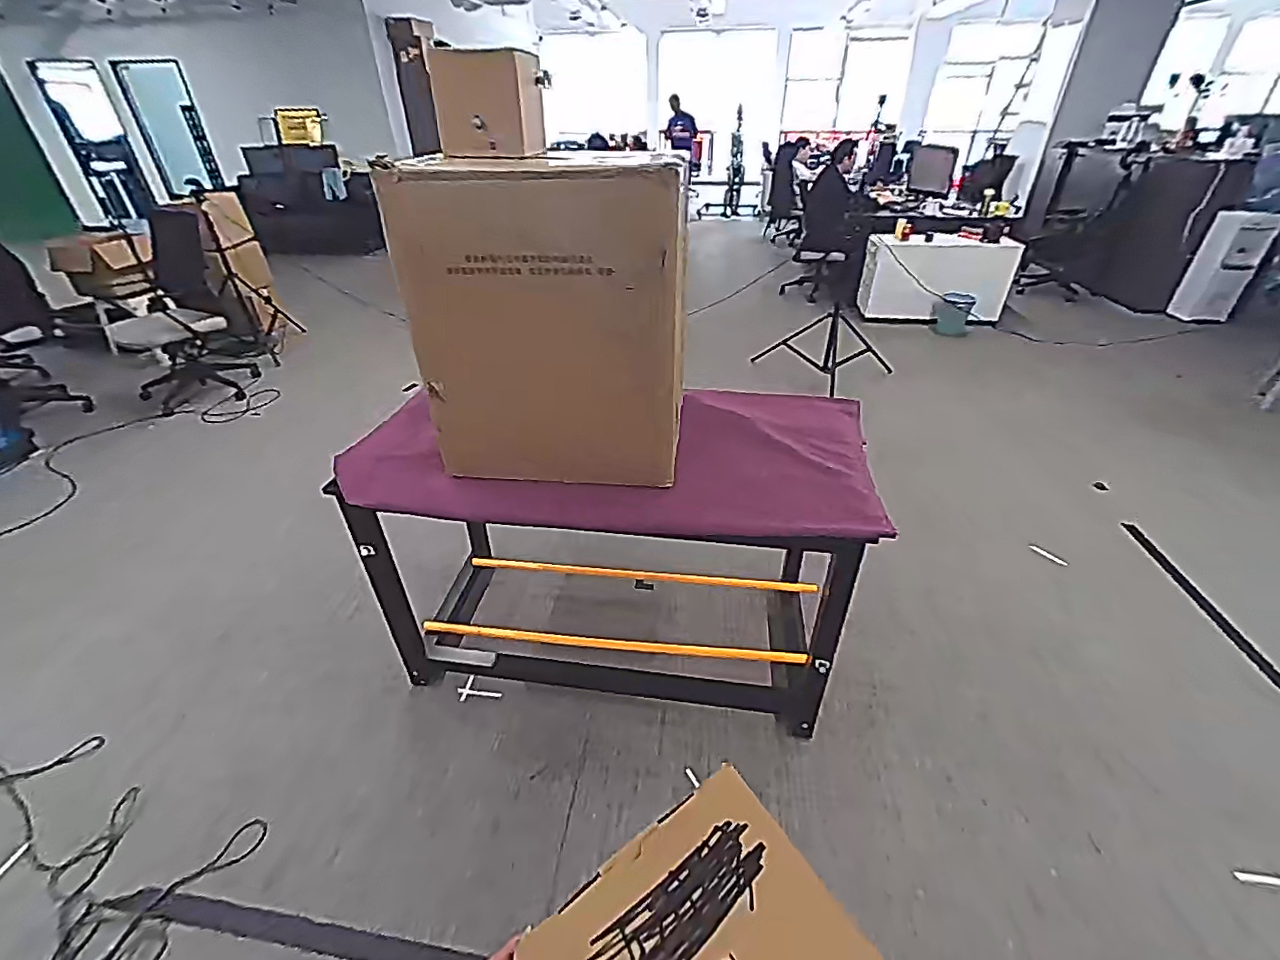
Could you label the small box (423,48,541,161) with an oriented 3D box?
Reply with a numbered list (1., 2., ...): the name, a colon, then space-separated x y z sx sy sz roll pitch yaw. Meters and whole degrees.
1. small box: -0.296 -0.731 1.061 0.168 0.176 0.179 3 34 5
